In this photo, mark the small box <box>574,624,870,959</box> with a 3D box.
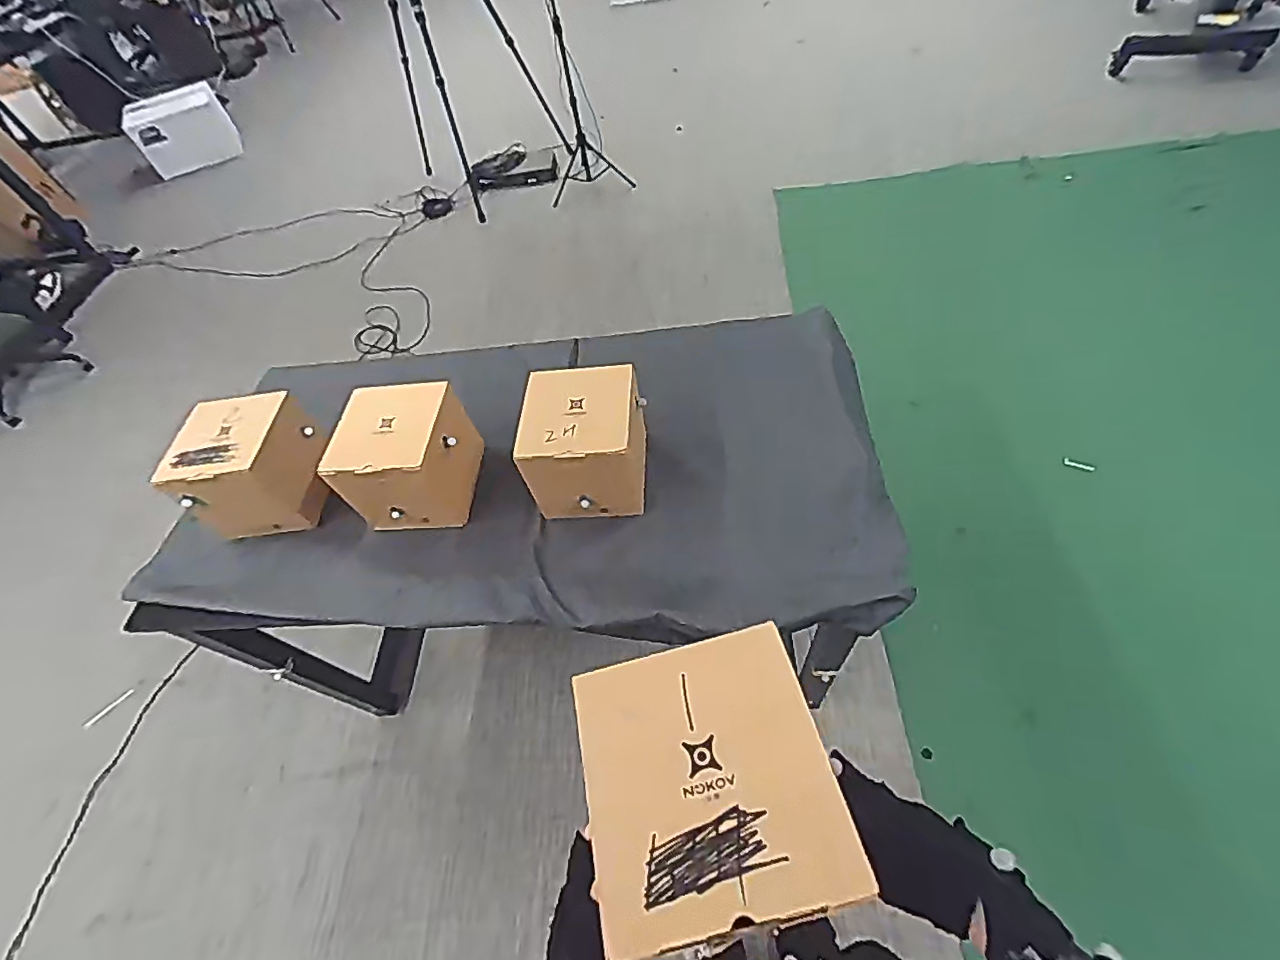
[{"bbox_3d":[0.057,0.244,0.429,0.168,0.176,0.179,-15,51,1],"label":"small box"}]

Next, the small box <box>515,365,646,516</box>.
[{"bbox_3d":[-0.082,-0.059,0.860,0.168,0.176,0.179,-2,55,7],"label":"small box"}]

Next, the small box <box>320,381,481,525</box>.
[{"bbox_3d":[-0.378,-0.041,0.895,0.168,0.176,0.179,-2,55,6],"label":"small box"}]
